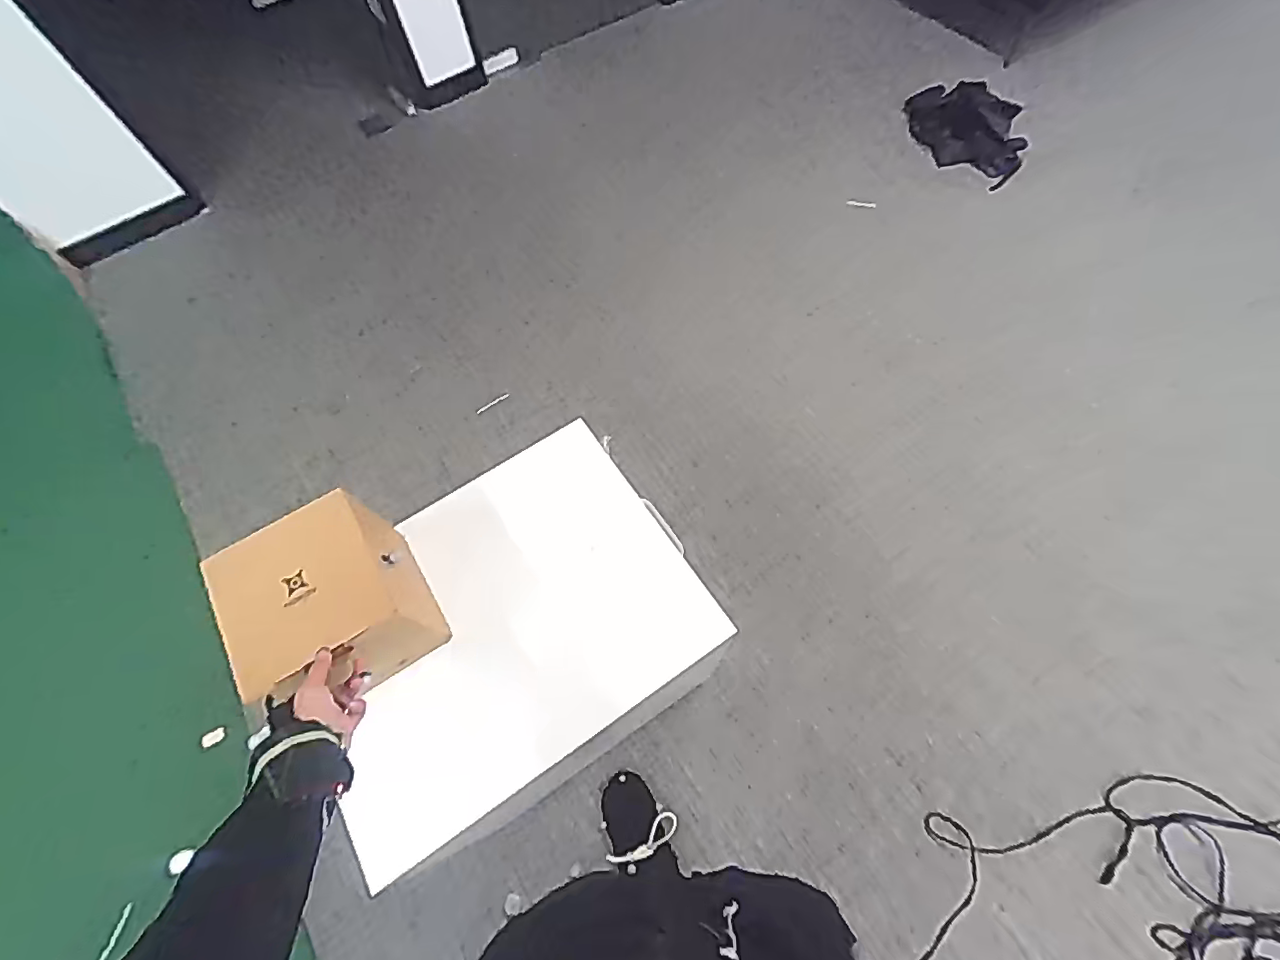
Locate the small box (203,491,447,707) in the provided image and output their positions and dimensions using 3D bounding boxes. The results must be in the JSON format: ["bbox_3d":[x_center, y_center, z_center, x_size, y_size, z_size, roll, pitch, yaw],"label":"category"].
[{"bbox_3d":[-0.362,0.149,0.647,0.168,0.176,0.179,-31,68,-13],"label":"small box"}]
